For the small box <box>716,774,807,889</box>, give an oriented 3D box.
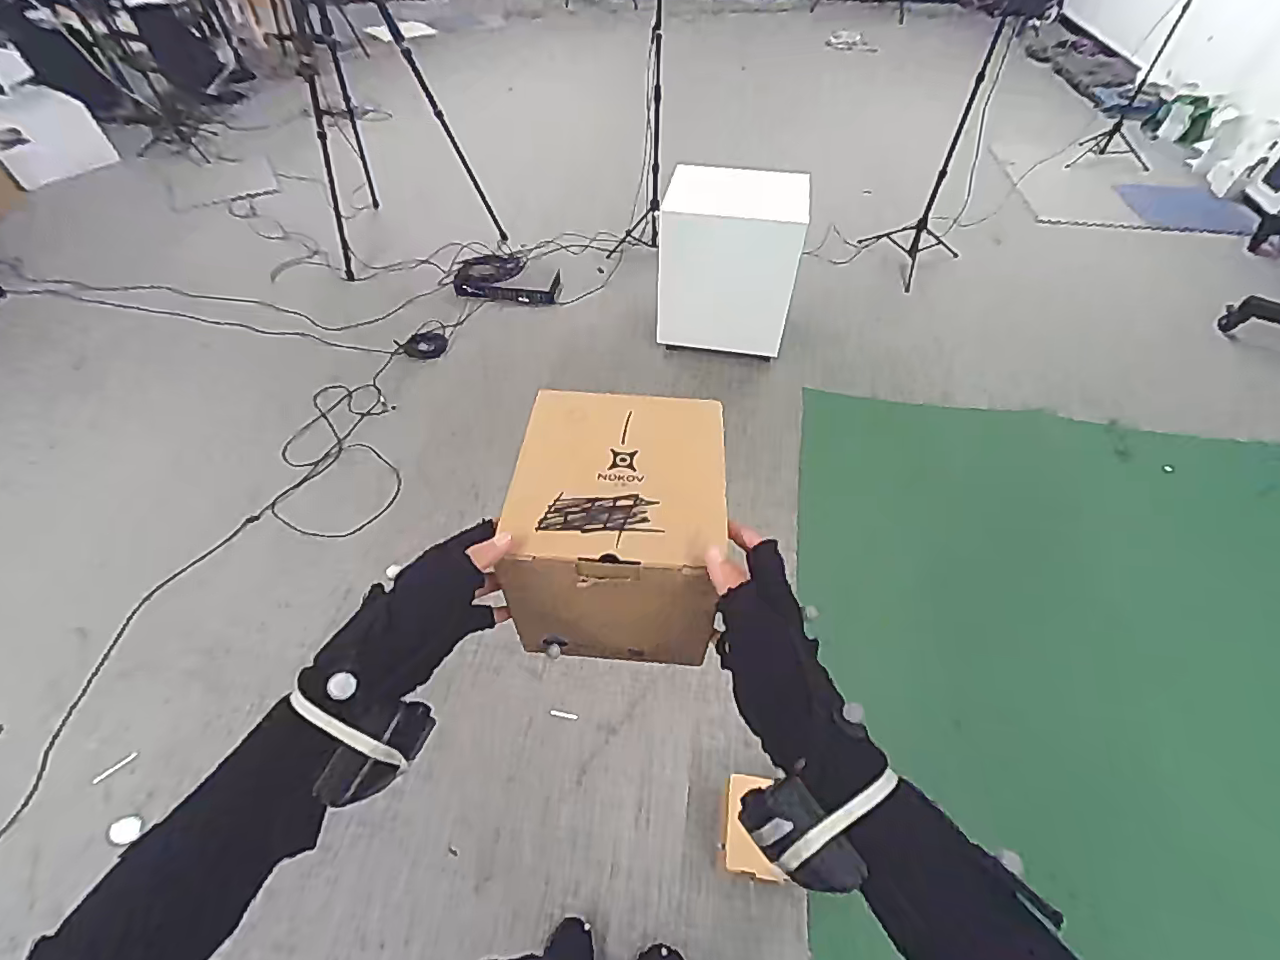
[{"bbox_3d":[0.258,0.764,1.172,0.168,0.176,0.179,6,51,5],"label":"small box"}]
